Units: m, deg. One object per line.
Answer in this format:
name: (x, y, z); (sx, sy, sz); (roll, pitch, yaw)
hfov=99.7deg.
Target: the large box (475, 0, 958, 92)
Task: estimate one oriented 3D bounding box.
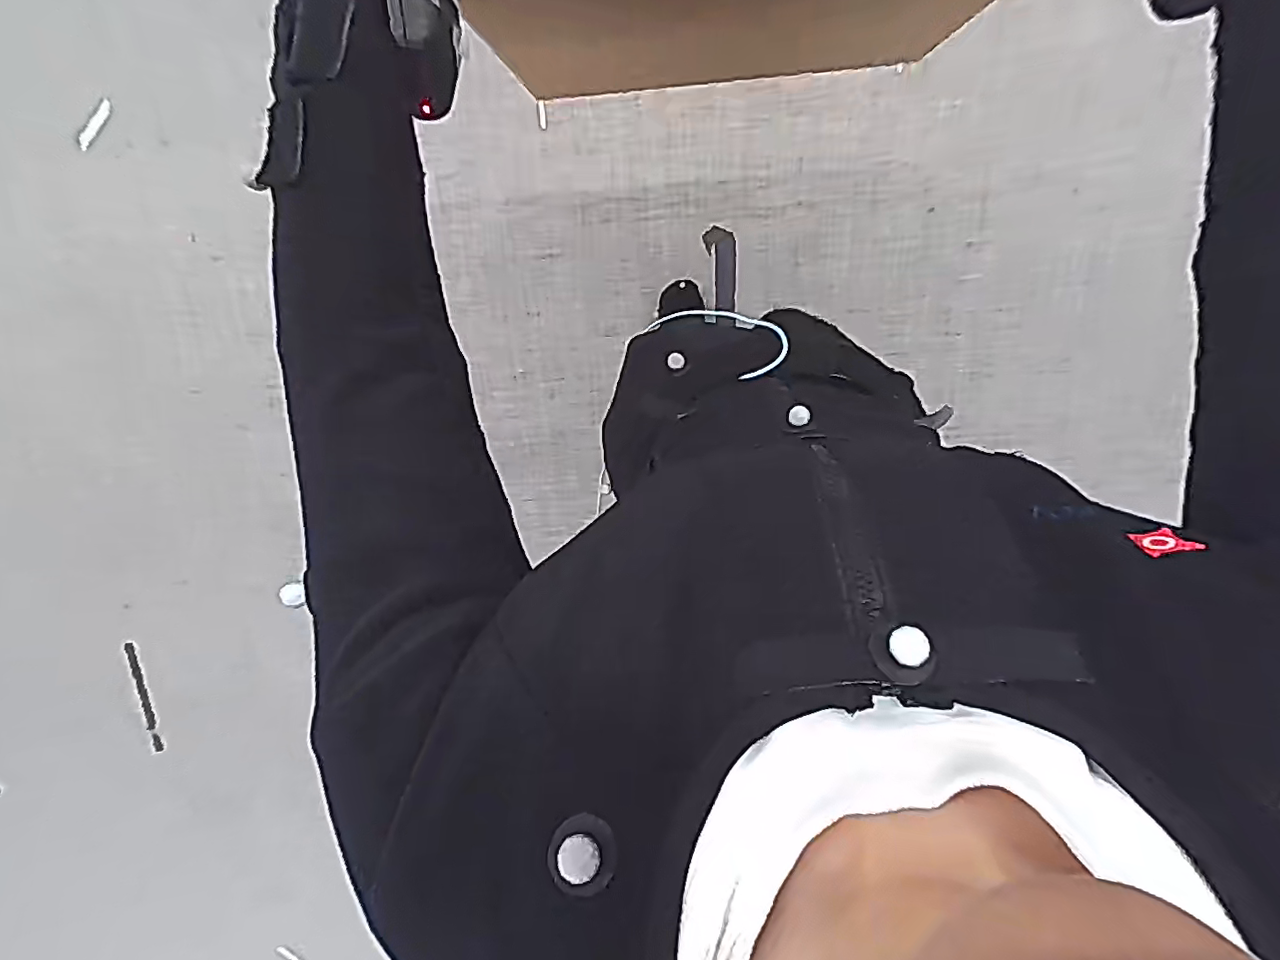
large box: (0.065, -0.517, 0.378); (0.408, 0.320, 0.320); (-4, 113, 4)
